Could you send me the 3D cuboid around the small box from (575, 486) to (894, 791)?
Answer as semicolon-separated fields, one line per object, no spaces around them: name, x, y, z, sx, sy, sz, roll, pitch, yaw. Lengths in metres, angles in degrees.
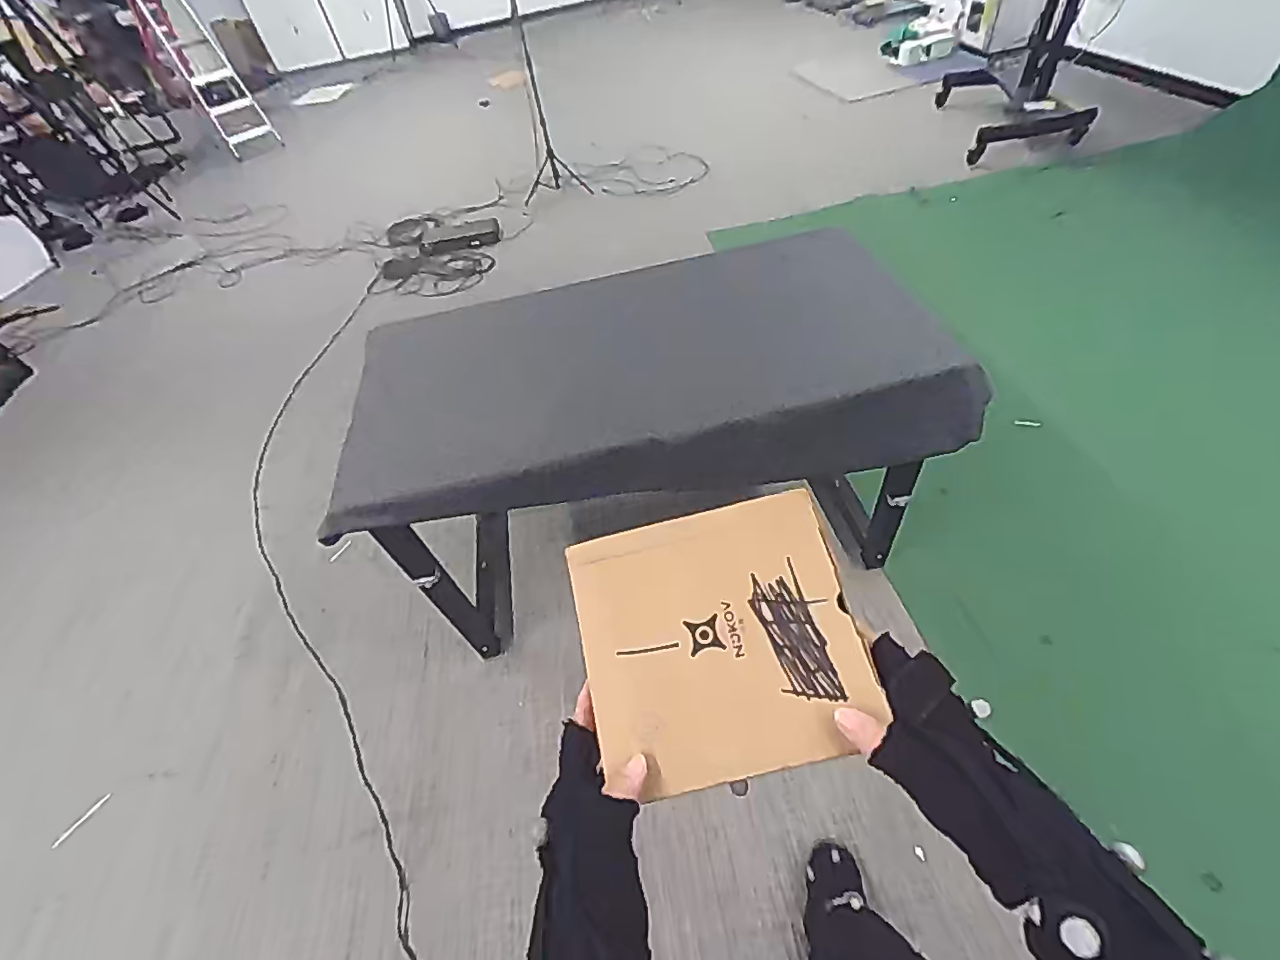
small box;0.060;0.125;0.425;0.179;0.176;0.168;-13;66;1
